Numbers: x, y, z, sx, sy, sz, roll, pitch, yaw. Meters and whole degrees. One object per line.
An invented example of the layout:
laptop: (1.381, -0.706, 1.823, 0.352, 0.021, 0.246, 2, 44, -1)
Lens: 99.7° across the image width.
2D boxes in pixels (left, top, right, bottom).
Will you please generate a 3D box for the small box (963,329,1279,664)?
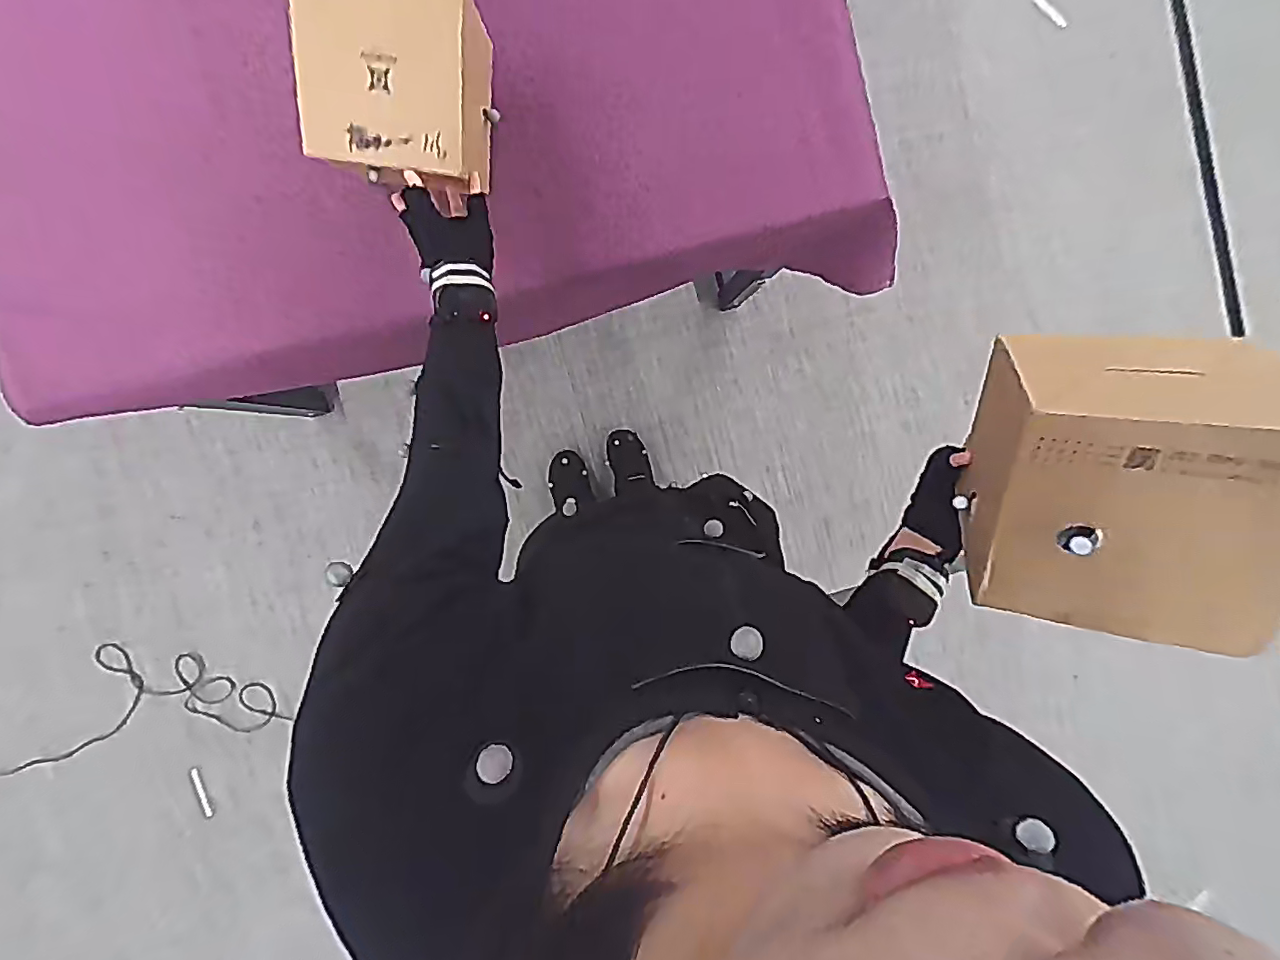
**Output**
small box: (0.355, -0.005, 0.395, 0.168, 0.179, 0.176, 10, 124, 21)

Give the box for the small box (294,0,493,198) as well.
small box: (-0.268, -0.447, 0.620, 0.168, 0.176, 0.179, 5, 106, -7)
